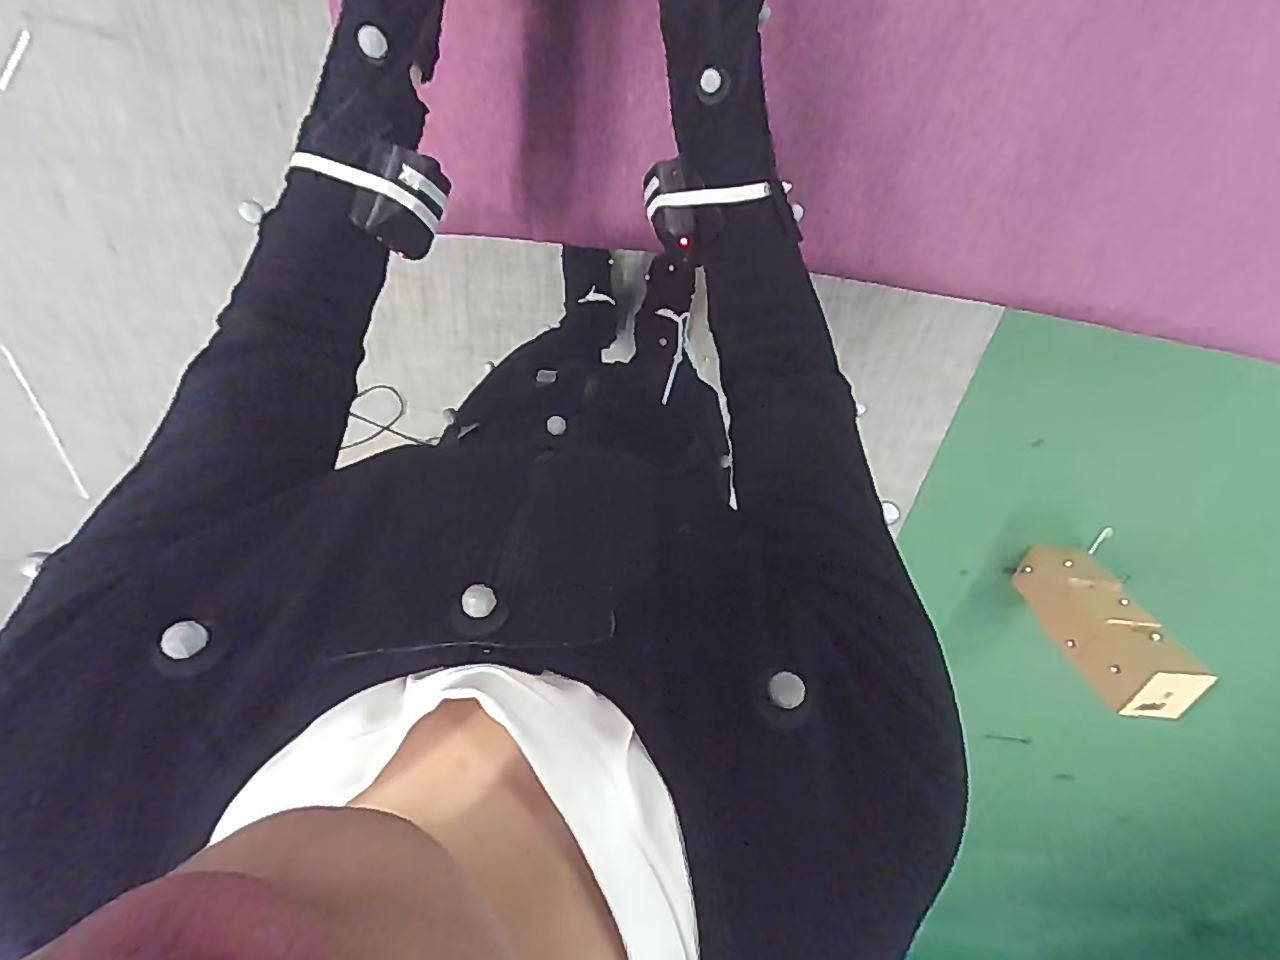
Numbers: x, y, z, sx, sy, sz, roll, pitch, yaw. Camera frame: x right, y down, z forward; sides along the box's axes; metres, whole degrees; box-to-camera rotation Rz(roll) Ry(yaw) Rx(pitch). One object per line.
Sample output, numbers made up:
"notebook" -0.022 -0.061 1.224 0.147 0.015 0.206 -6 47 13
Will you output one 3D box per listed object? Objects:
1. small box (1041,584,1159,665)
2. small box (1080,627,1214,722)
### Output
"small box" 1.341 0.429 1.595 0.168 0.176 0.179 6 123 -3
"small box" 1.349 0.524 1.461 0.168 0.176 0.179 5 122 -3
